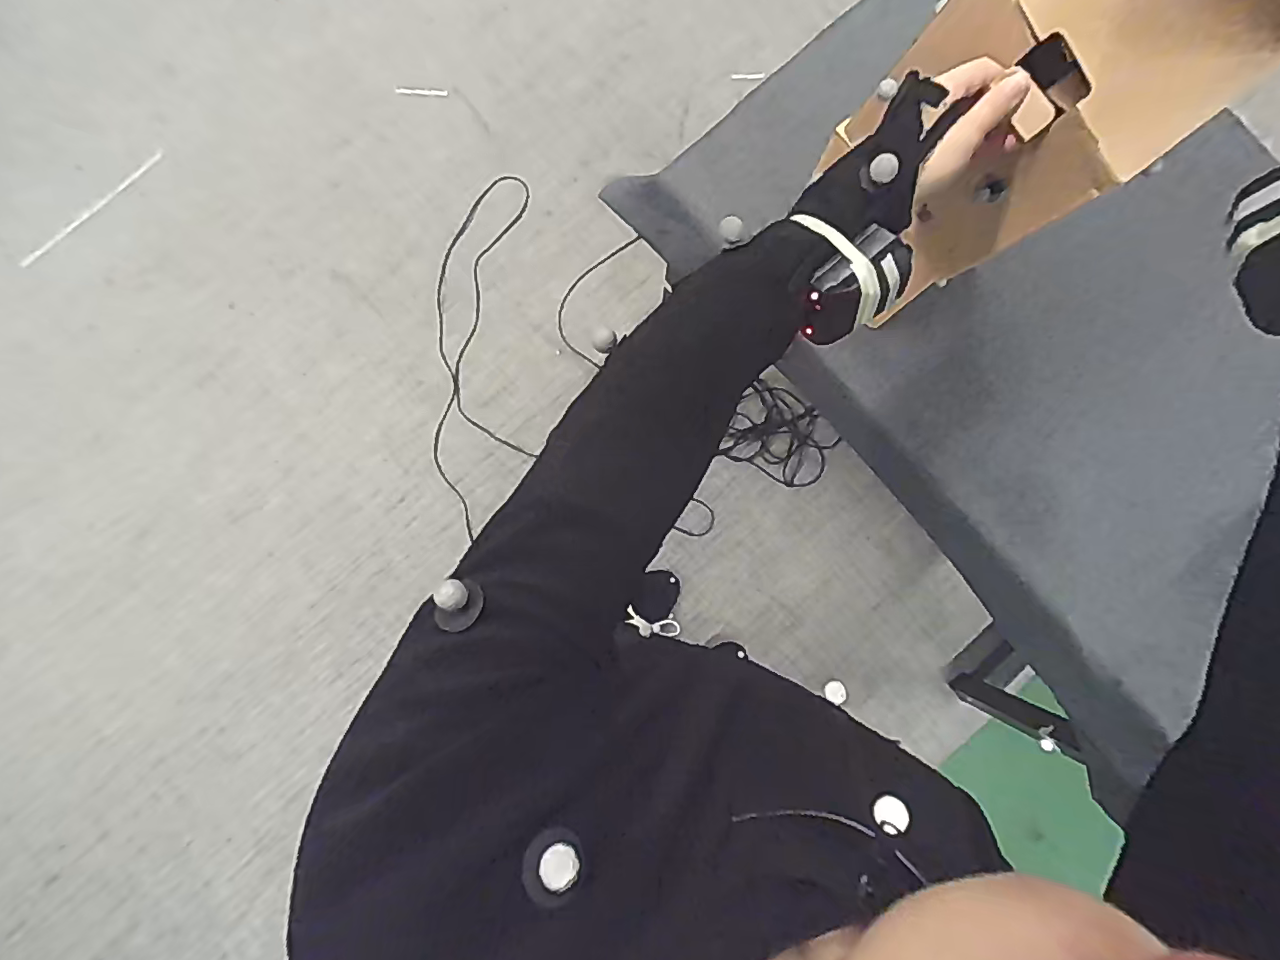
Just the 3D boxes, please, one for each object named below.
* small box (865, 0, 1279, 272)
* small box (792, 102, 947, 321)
[{"bbox_3d":[0.306,-0.295,0.416,0.179,0.176,0.168,-37,96,-9],"label":"small box"},{"bbox_3d":[0.299,-0.311,0.599,0.168,0.176,0.179,-38,88,-4],"label":"small box"}]
